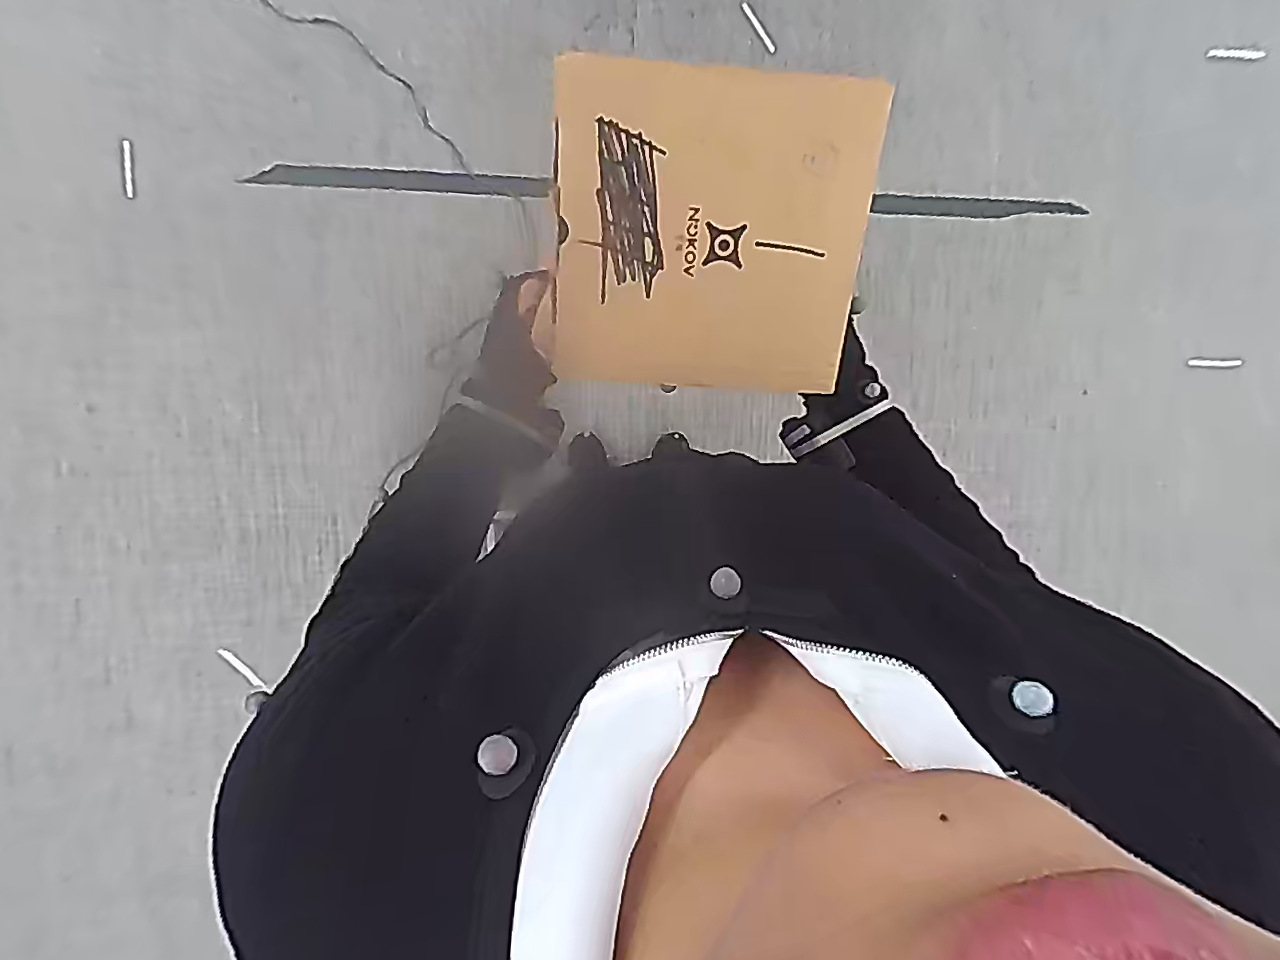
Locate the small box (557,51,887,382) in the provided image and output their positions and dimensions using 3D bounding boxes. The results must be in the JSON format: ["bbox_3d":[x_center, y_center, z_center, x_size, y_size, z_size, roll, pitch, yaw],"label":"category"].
[{"bbox_3d":[0.039,-0.172,0.387,0.179,0.176,0.168,3,112,-2],"label":"small box"}]
